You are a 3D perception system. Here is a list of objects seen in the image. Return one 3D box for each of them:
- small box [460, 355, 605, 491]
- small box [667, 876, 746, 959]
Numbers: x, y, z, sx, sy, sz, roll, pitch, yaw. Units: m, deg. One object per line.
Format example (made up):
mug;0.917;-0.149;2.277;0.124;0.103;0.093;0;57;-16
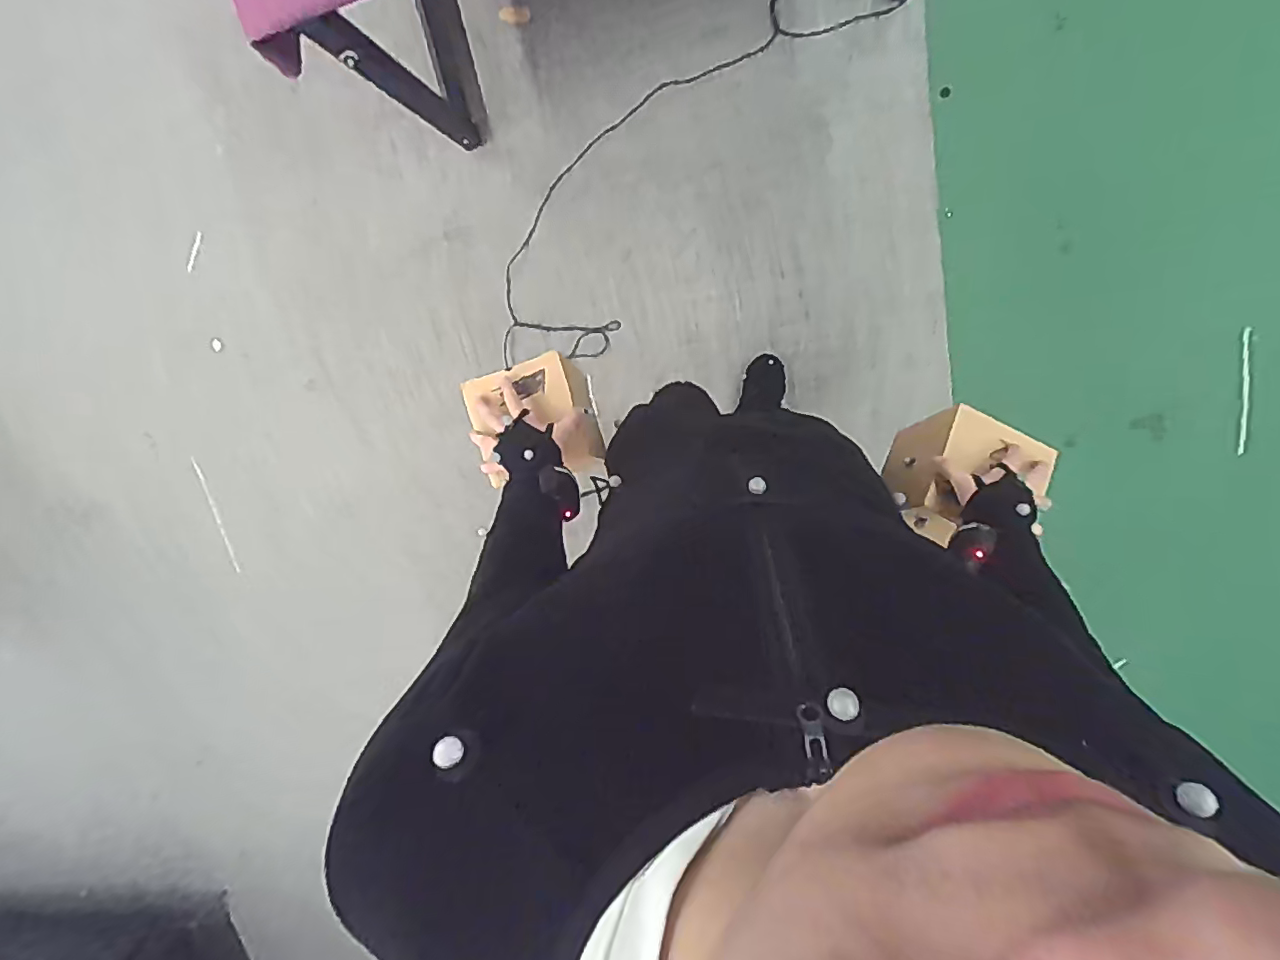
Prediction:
small box;-0.171;-0.085;0.910;0.168;0.176;0.179;-19;88;7
small box;0.150;1.030;1.204;0.168;0.176;0.179;0;104;11
